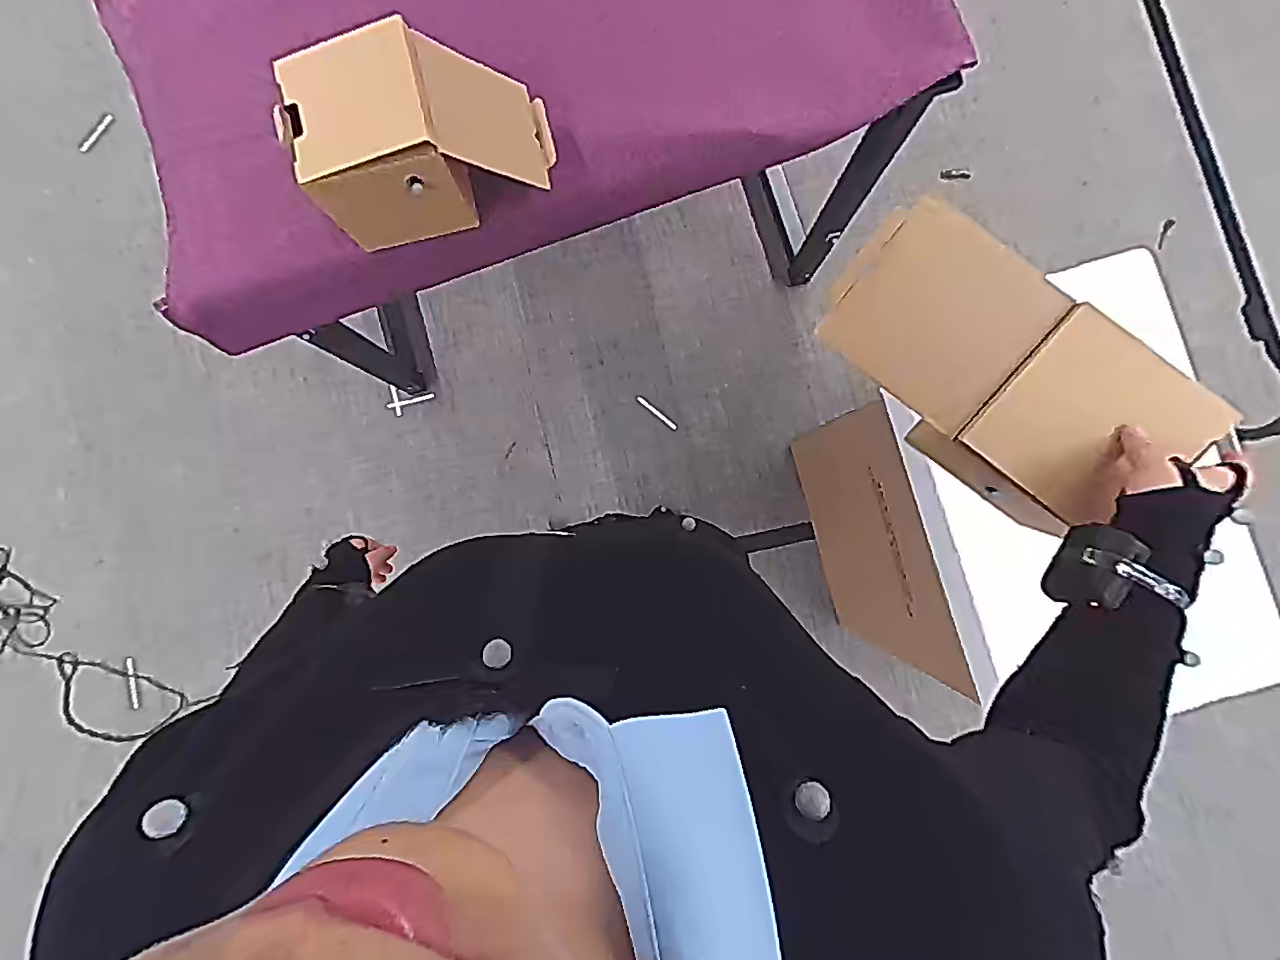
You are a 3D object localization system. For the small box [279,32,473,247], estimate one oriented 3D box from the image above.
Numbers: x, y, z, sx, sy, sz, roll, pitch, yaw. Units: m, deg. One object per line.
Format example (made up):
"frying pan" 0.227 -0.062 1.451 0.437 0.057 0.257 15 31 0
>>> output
"small box" -0.341 -0.448 0.737 0.179 0.176 0.168 -13 85 0
